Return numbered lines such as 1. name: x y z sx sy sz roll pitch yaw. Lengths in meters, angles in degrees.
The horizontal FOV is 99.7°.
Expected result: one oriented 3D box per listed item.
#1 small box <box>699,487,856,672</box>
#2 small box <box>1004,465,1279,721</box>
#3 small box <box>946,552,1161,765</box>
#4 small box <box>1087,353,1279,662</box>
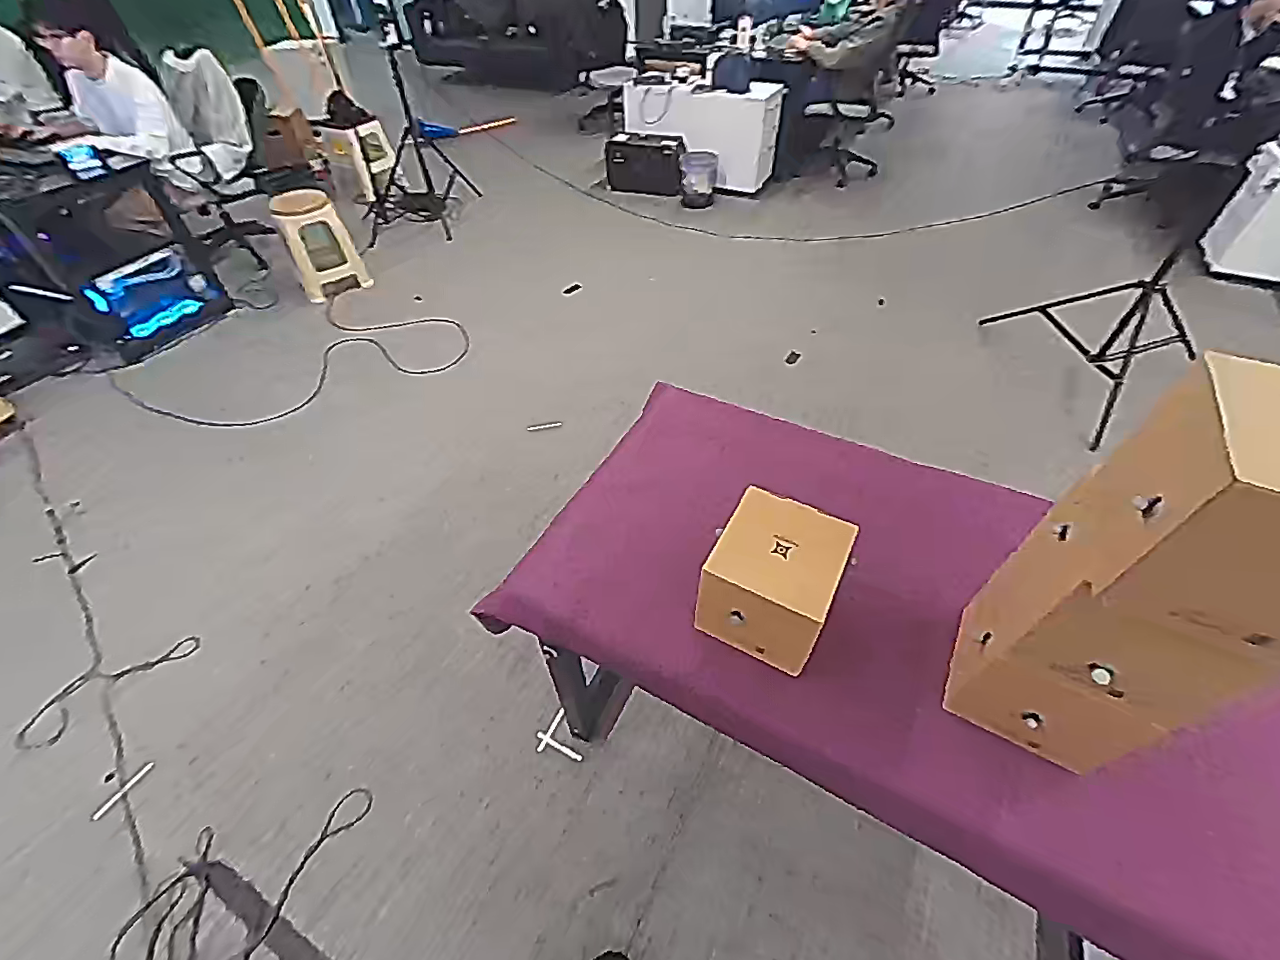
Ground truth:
1. small box: 0.194 0.148 0.796 0.168 0.176 0.179 22 50 20
2. small box: 0.529 0.121 0.588 0.168 0.176 0.179 23 52 21
3. small box: 0.527 0.234 0.707 0.168 0.176 0.179 23 52 21
4. small box: 0.518 0.026 0.455 0.168 0.176 0.179 21 50 18
